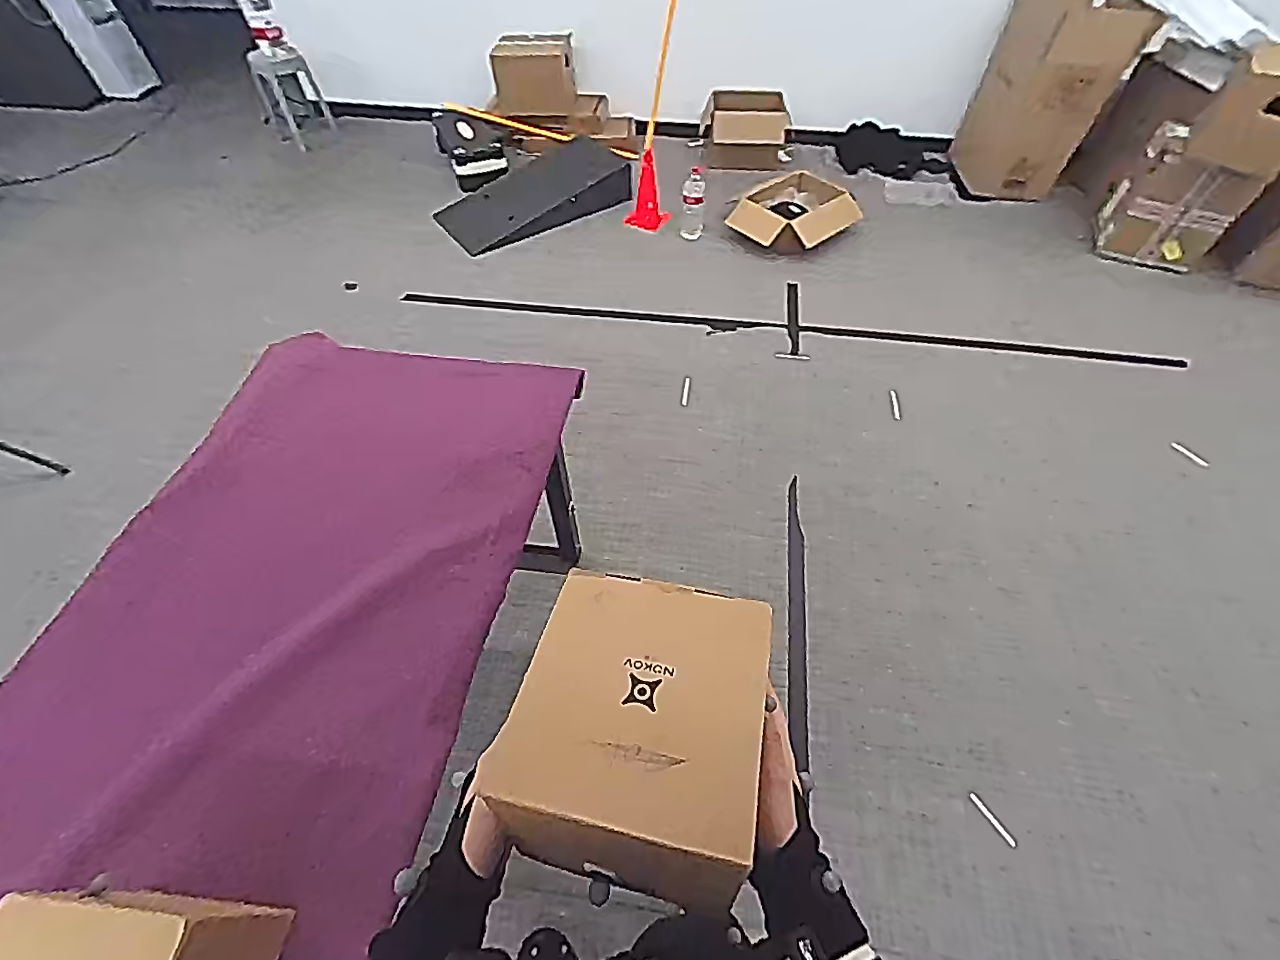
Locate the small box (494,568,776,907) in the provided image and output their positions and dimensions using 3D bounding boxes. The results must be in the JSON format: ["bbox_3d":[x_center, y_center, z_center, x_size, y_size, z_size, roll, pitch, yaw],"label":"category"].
[{"bbox_3d":[0.008,0.201,0.430,0.168,0.176,0.179,8,45,11],"label":"small box"}]

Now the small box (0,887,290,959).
[{"bbox_3d":[-0.469,0.476,0.481,0.179,0.176,0.168,4,54,4],"label":"small box"}]
